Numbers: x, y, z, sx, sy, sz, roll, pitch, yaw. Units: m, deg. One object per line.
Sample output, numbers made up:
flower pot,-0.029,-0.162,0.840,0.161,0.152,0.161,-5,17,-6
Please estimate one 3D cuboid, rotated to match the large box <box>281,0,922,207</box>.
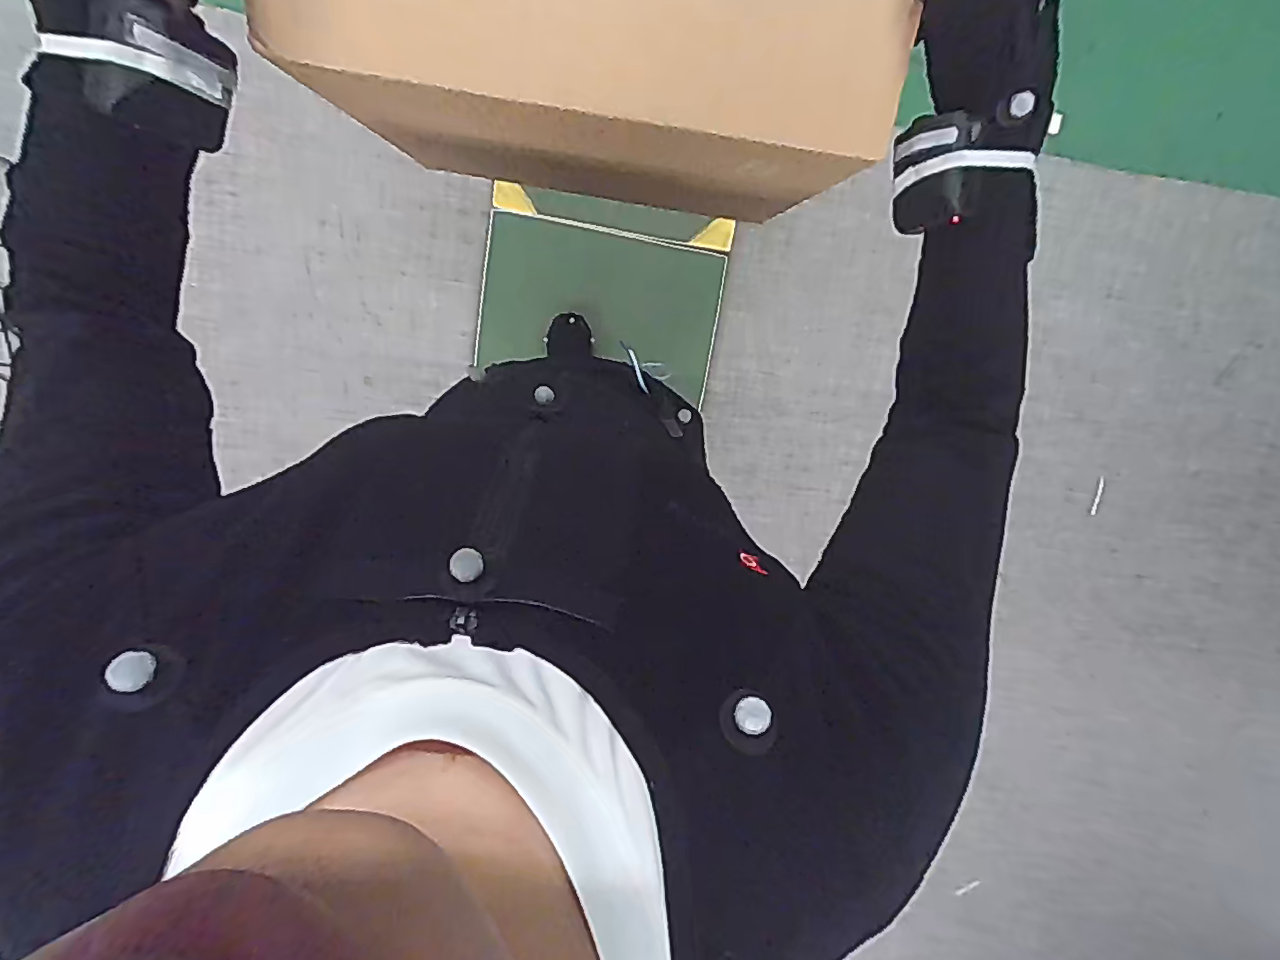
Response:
large box,-0.016,-0.442,0.445,0.408,0.320,0.320,6,109,-6
